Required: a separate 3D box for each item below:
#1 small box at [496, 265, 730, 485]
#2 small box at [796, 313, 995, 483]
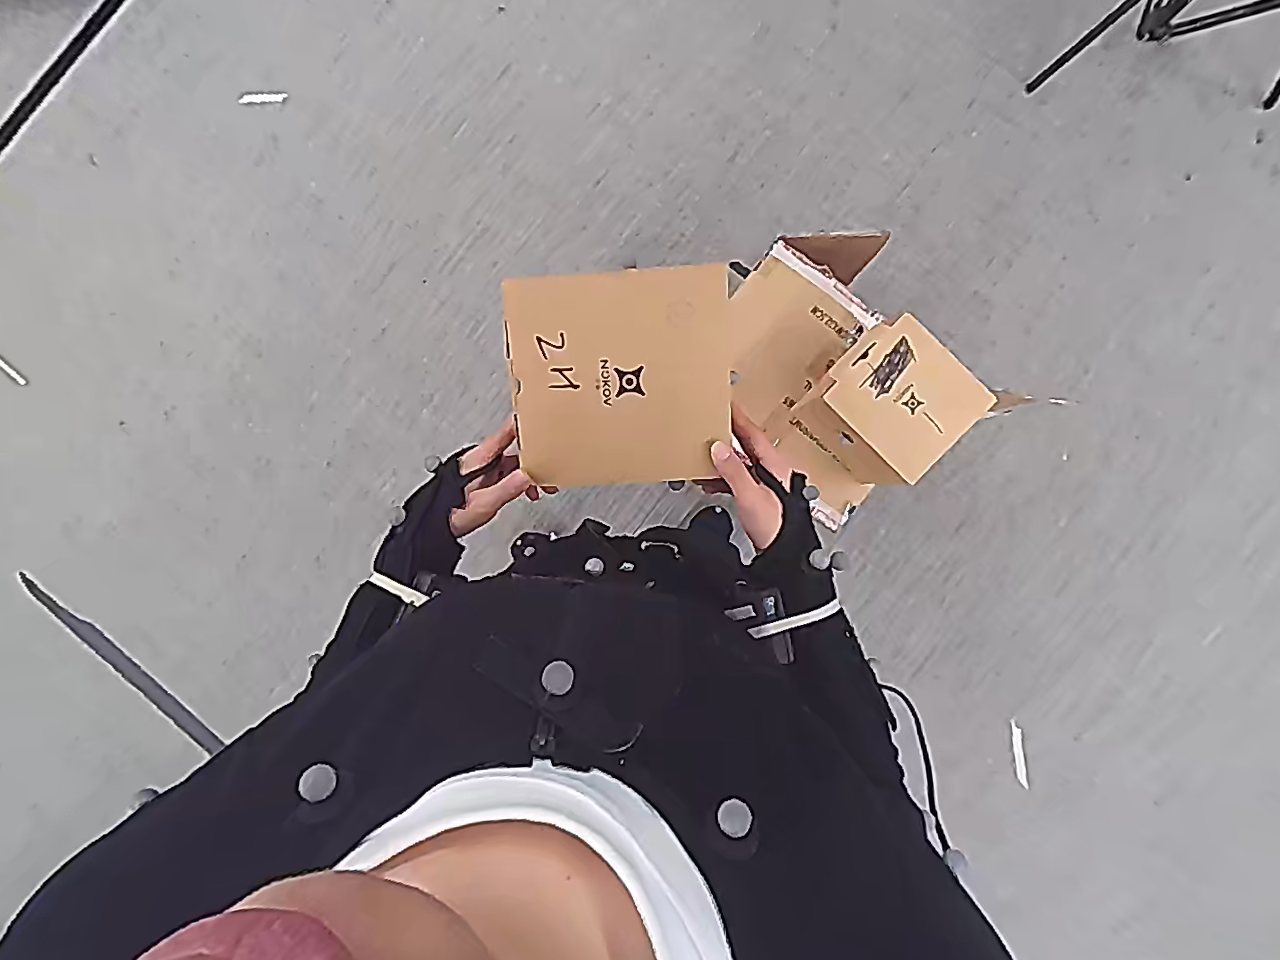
[{"bbox_3d":[-0.014,-0.095,0.498,0.179,0.176,0.168,-2,102,5],"label":"small box"},{"bbox_3d":[0.361,-0.109,0.805,0.179,0.176,0.168,45,92,0],"label":"small box"}]
